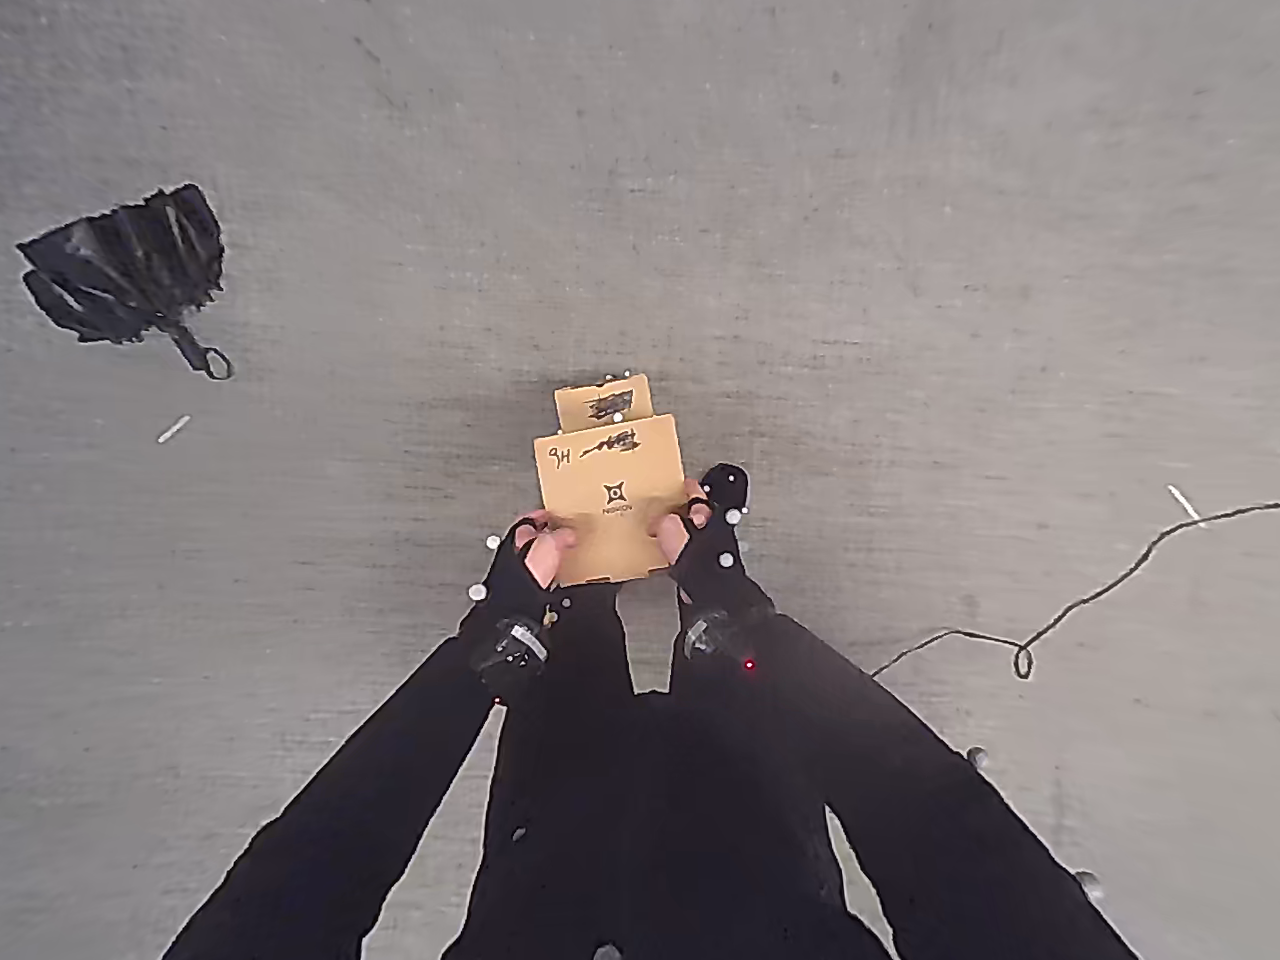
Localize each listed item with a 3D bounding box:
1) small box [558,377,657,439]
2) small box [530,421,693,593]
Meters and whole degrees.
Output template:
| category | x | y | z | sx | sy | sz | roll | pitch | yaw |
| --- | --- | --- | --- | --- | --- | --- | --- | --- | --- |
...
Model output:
| category | x | y | z | sx | sy | sz | roll | pitch | yaw |
| --- | --- | --- | --- | --- | --- | --- | --- | --- | --- |
| small box | -0.050 | -0.093 | 1.022 | 0.168 | 0.176 | 0.179 | -11 | 100 | 2 |
| small box | -0.025 | 0.029 | 0.692 | 0.168 | 0.176 | 0.179 | -11 | 90 | 5 |
